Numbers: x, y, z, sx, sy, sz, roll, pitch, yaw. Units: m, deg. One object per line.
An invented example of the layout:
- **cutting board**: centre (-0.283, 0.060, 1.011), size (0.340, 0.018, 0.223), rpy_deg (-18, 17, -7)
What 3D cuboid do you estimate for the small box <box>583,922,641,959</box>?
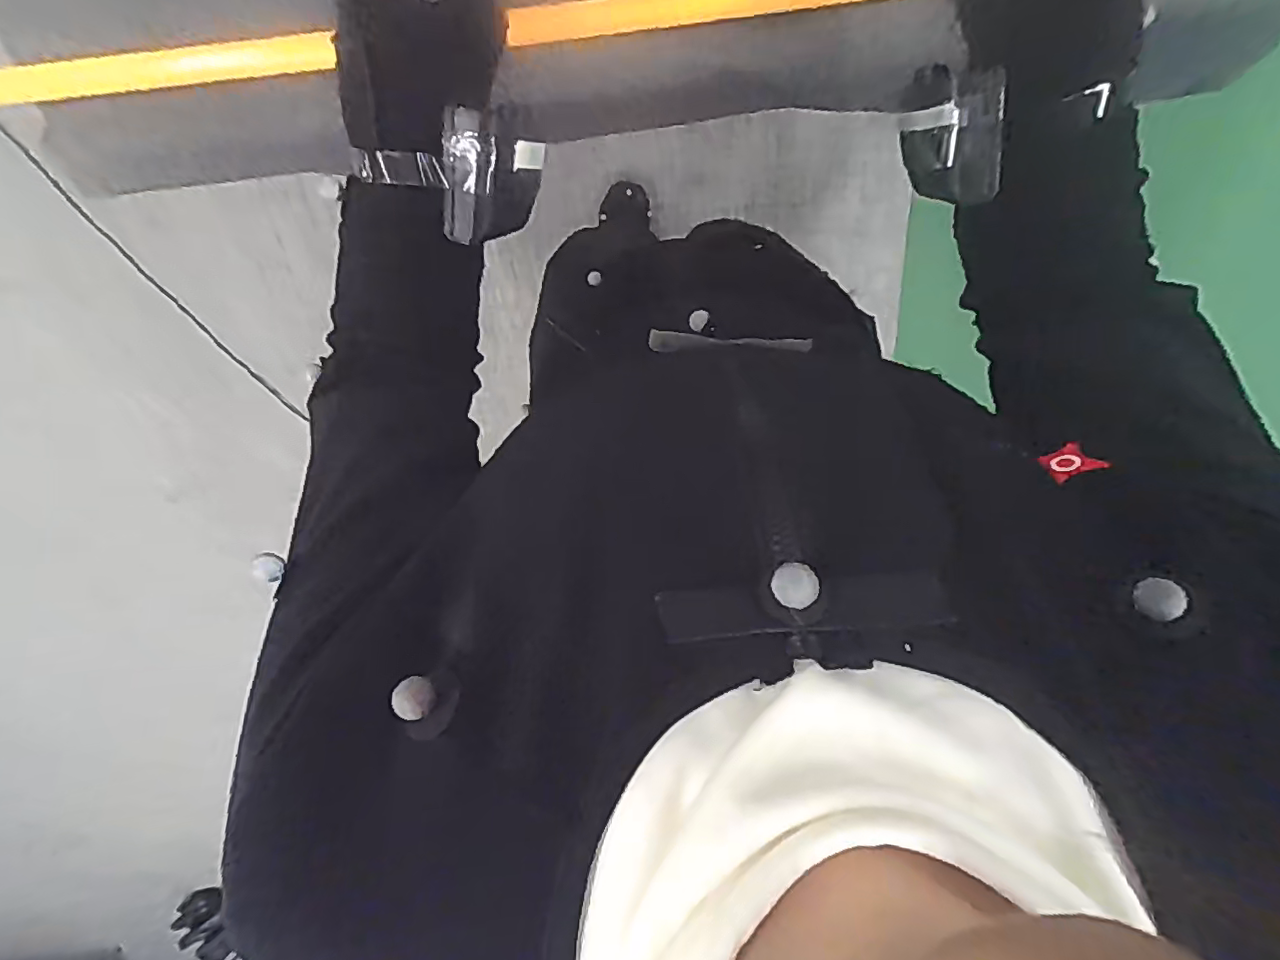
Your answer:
- **small box**: centre (-0.088, 1.599, 1.774), size (0.168, 0.176, 0.179), rpy_deg (-13, 116, 3)
